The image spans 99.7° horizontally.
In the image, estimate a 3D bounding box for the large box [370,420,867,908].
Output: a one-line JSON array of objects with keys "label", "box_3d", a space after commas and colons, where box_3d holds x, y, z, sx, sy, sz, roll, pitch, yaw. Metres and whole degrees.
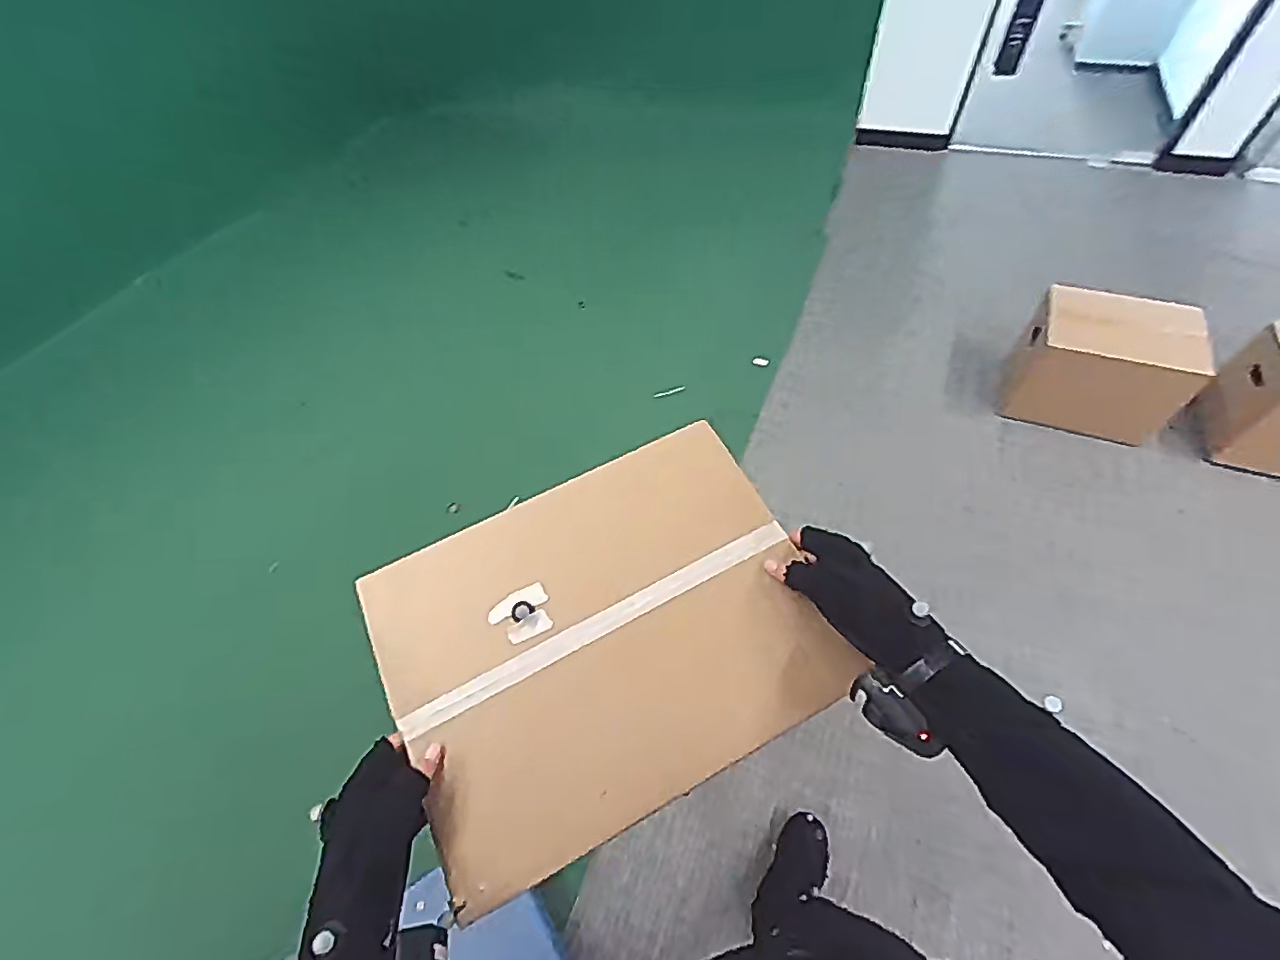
[{"label": "large box", "box_3d": [-0.026, 0.196, 0.655, 0.408, 0.320, 0.320, -25, 66, -9]}]
